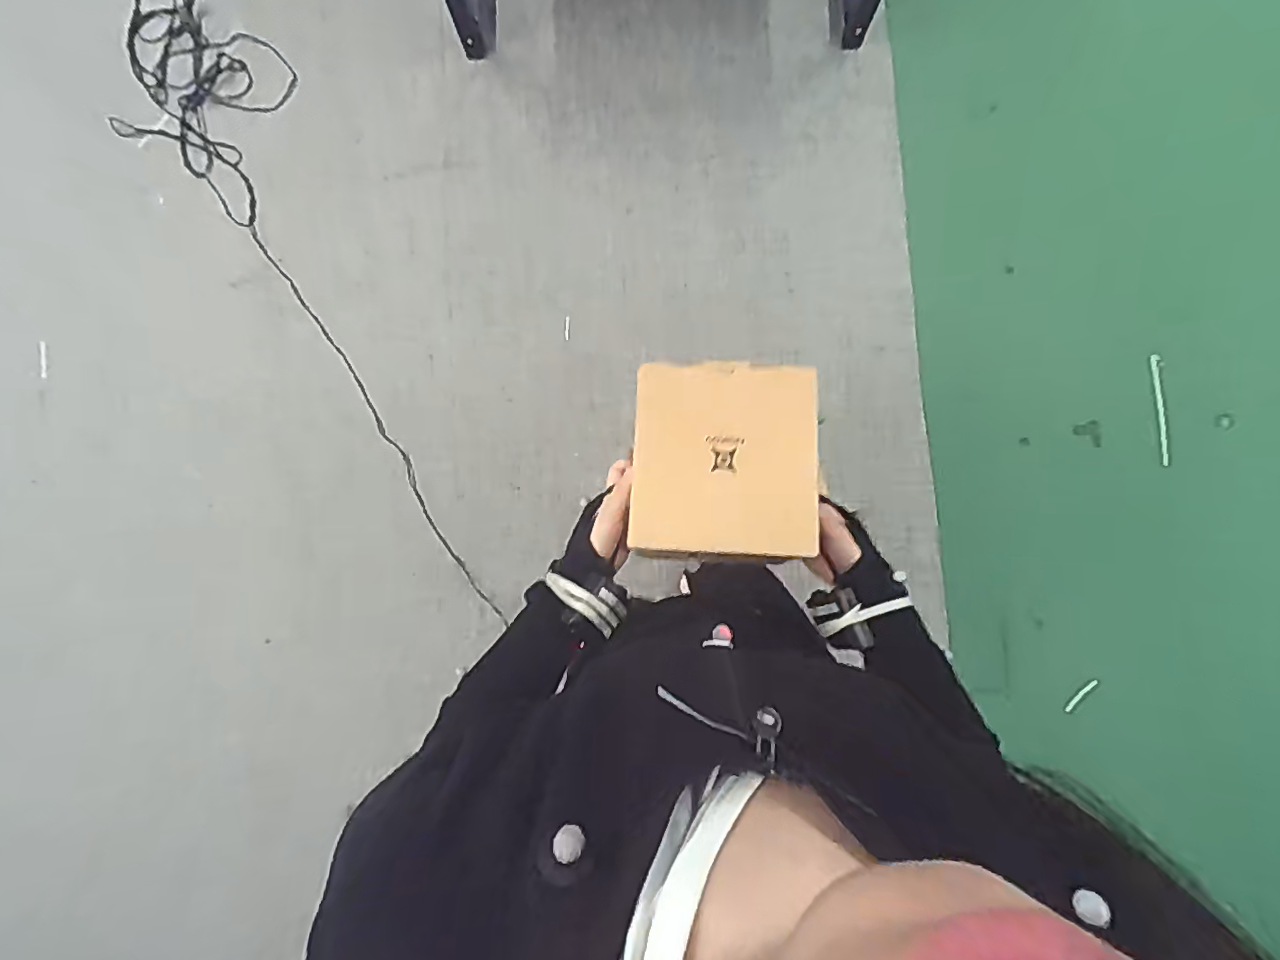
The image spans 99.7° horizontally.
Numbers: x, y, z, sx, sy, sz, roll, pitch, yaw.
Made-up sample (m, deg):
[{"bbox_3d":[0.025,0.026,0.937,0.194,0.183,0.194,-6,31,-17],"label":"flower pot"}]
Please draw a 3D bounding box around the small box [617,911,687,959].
[{"bbox_3d":[0.025,1.216,1.338,0.168,0.176,0.179,3,85,1],"label":"small box"}]

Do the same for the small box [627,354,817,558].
[{"bbox_3d":[0.082,-0.014,0.561,0.168,0.176,0.179,2,77,5],"label":"small box"}]
